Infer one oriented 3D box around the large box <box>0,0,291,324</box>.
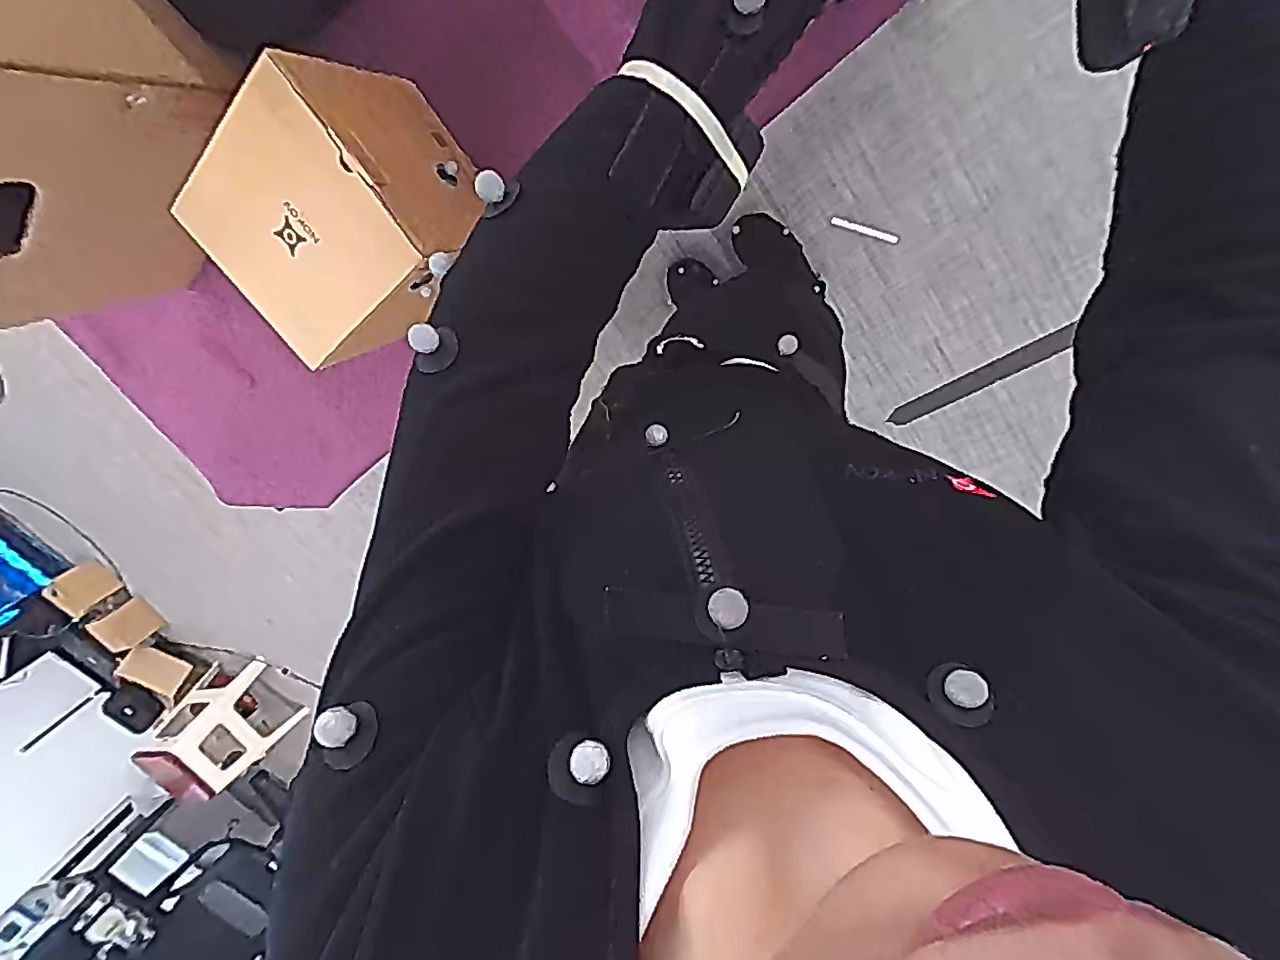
[{"bbox_3d":[-0.610,-0.387,0.431,0.320,0.320,0.408,-32,109,30],"label":"large box"}]
